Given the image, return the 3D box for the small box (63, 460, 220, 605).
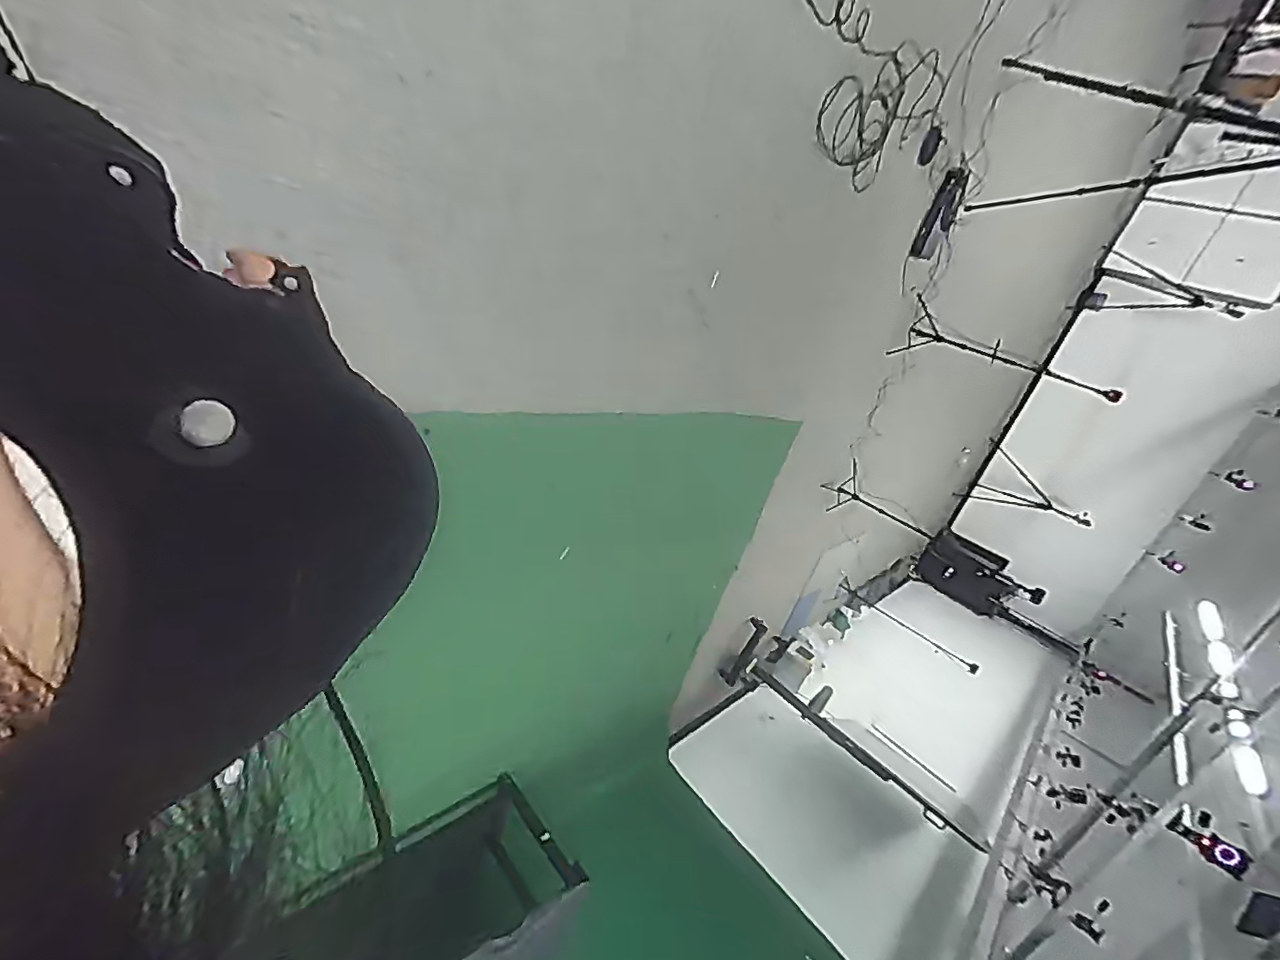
[{"bbox_3d":[-0.822,0.076,0.892,0.179,0.176,0.168,-4,121,-47],"label":"small box"}]
